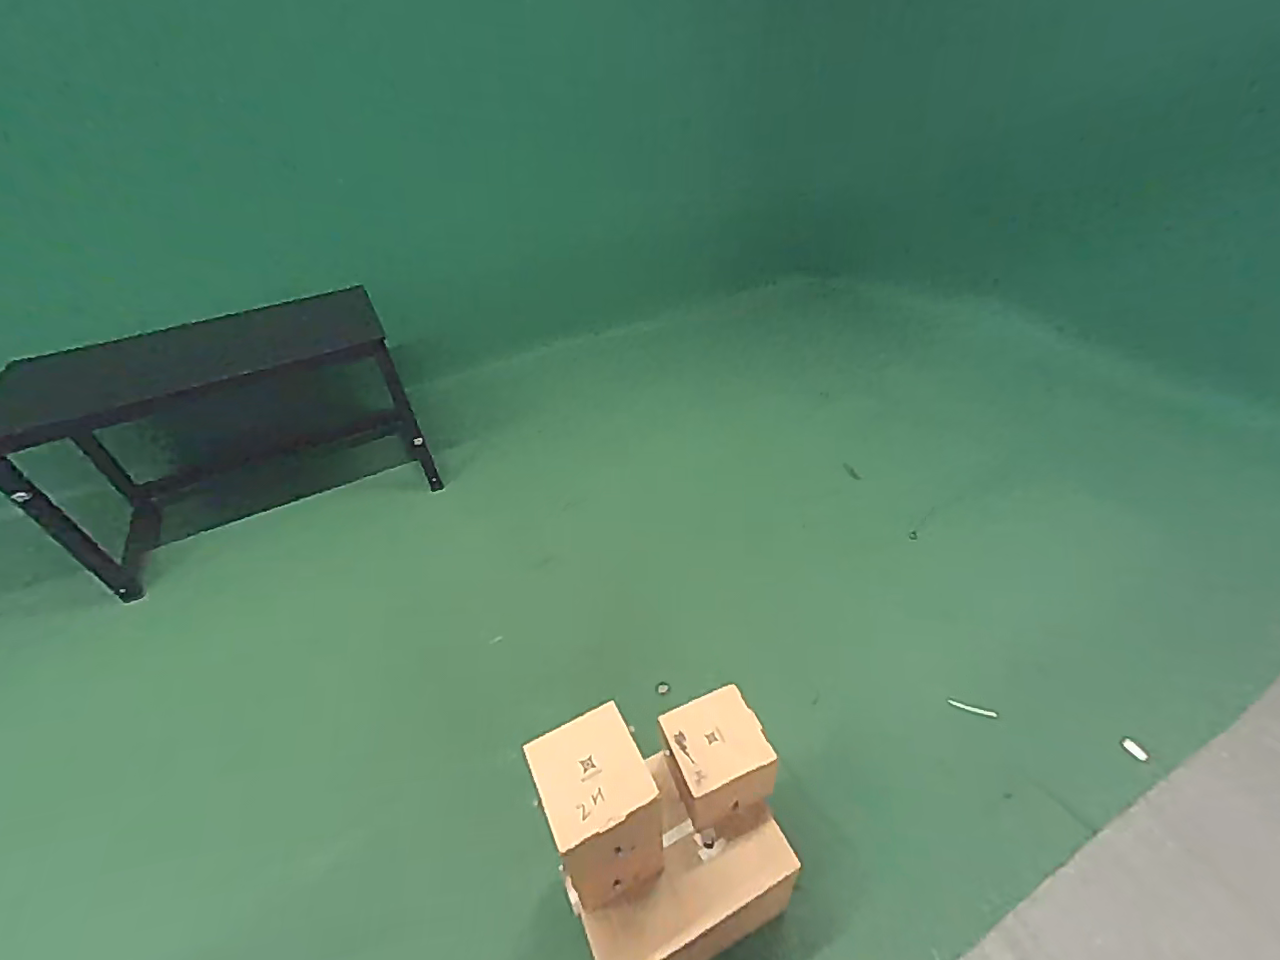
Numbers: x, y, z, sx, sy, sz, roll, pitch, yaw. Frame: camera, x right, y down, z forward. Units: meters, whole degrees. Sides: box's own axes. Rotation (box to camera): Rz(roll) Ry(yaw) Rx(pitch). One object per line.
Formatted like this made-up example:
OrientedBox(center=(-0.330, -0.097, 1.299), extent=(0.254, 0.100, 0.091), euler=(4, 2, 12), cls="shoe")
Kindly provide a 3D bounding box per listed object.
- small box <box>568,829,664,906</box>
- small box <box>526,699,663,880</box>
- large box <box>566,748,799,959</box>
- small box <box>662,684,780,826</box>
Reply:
OrientedBox(center=(-0.066, 0.633, 0.999), extent=(0.168, 0.176, 0.179), euler=(-20, 42, -18), cls="small box")
OrientedBox(center=(-0.074, 0.508, 0.893), extent=(0.168, 0.176, 0.179), euler=(-21, 43, -18), cls="small box")
OrientedBox(center=(0.068, 0.811, 1.151), extent=(0.408, 0.320, 0.320), euler=(-20, 43, -18), cls="large box")
OrientedBox(center=(0.154, 0.545, 1.075), extent=(0.179, 0.176, 0.168), euler=(-17, 41, -13), cls="small box")
